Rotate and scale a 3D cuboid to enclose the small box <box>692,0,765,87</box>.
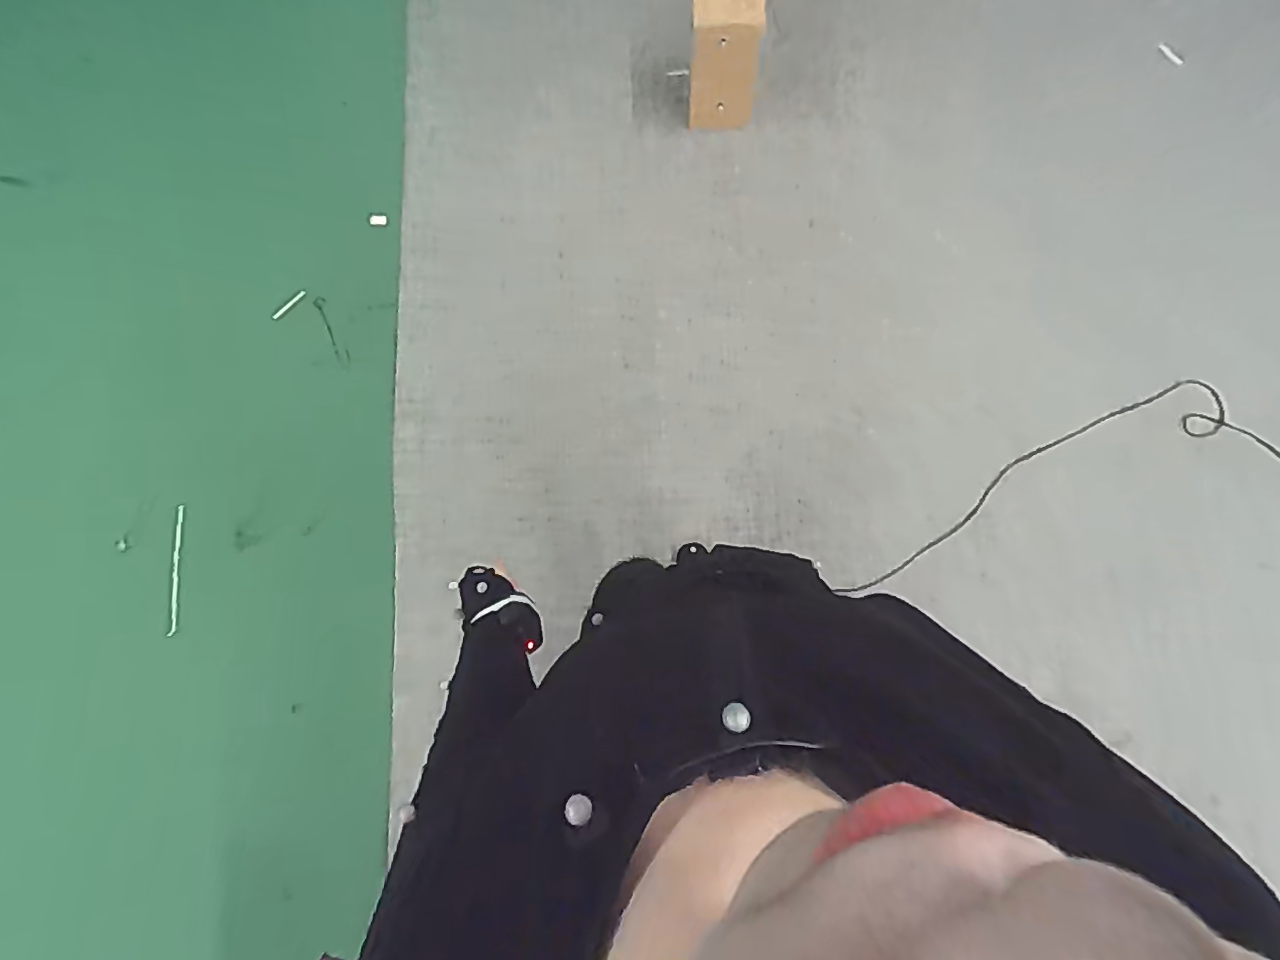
[{"bbox_3d":[0.224,-1.156,1.399,0.179,0.176,0.168,1,85,4],"label":"small box"}]
